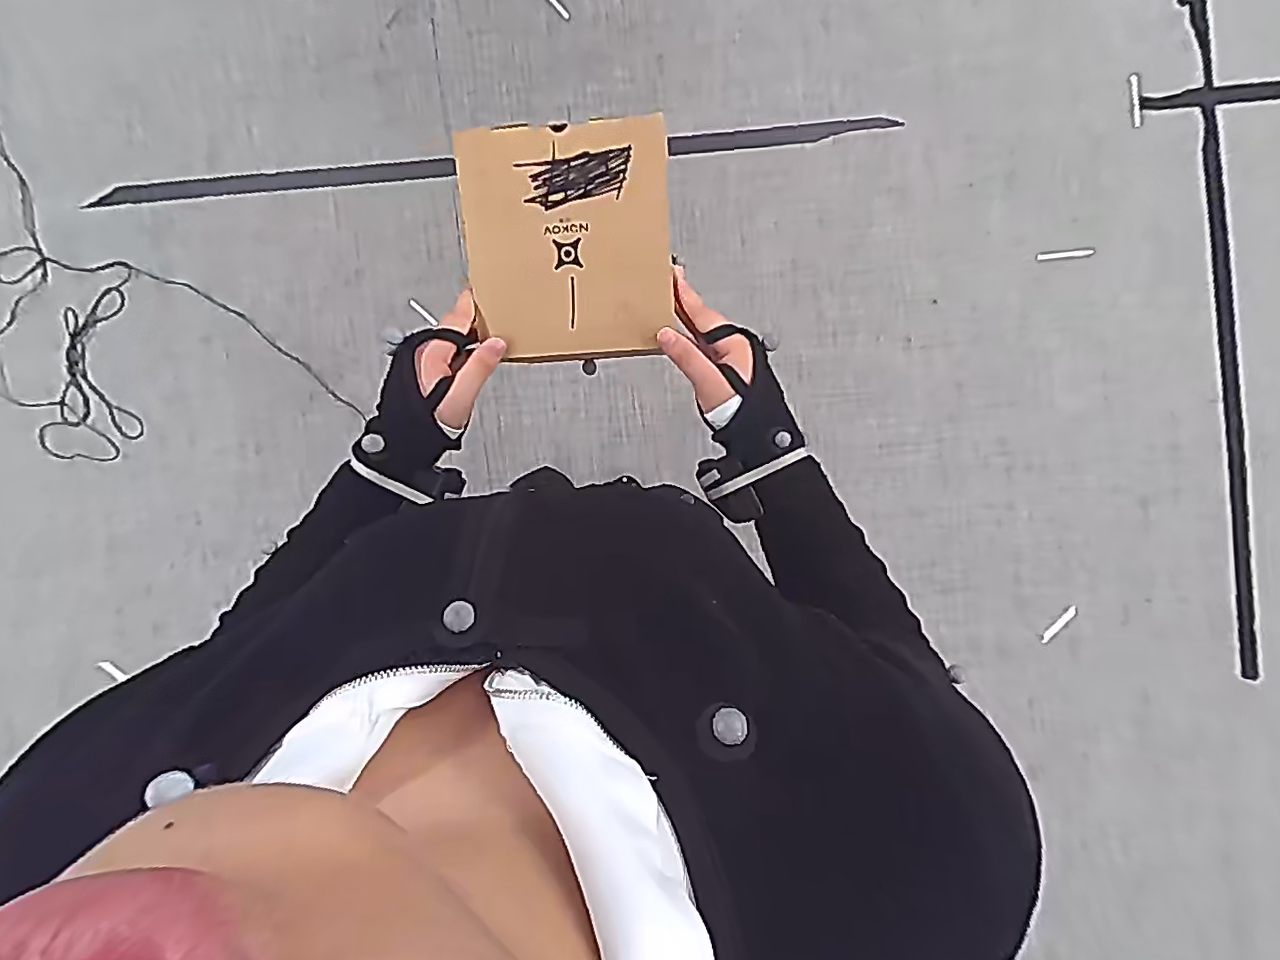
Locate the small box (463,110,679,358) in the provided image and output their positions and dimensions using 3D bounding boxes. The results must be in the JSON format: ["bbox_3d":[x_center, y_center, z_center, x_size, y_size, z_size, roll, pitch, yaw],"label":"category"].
[{"bbox_3d":[-0.051,-0.211,0.510,0.168,0.176,0.179,-3,101,3],"label":"small box"}]
